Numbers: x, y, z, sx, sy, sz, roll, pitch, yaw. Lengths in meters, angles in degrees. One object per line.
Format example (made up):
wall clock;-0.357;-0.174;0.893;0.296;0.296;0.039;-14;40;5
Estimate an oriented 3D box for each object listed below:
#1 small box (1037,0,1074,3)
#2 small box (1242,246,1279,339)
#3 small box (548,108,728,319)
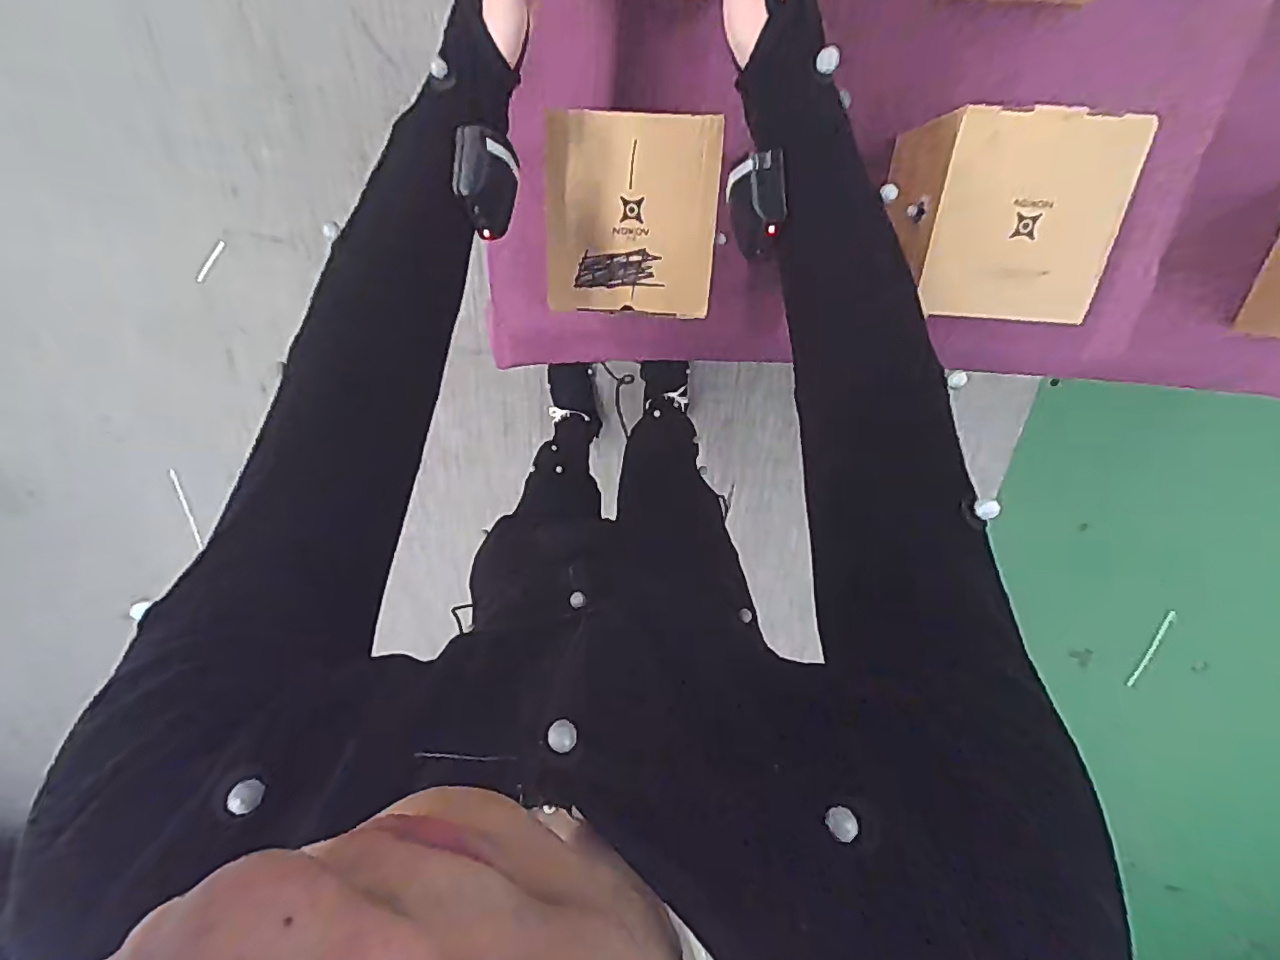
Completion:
small box;0.380;-0.540;0.446;0.168;0.176;0.179;4;116;2
small box;0.813;-0.225;0.560;0.168;0.176;0.179;6;113;2
small box;-0.002;-0.281;0.587;0.168;0.176;0.179;3;114;1
